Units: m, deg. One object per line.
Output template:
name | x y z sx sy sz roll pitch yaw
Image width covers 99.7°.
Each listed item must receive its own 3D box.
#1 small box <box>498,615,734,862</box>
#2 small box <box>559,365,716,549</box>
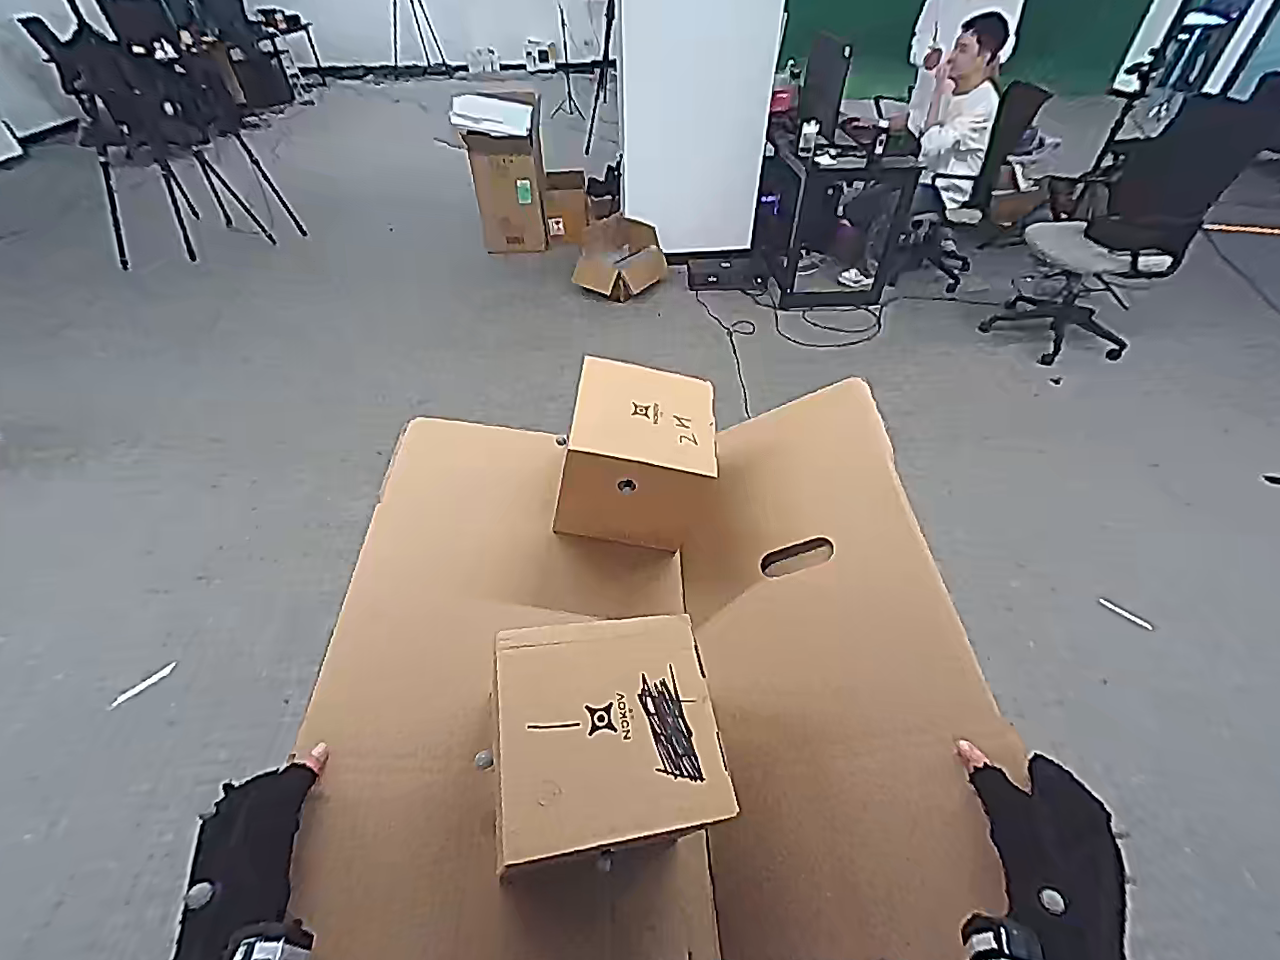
small box | -0.039 0.240 0.506 0.179 0.176 0.168 0 52 -16
small box | -0.006 -0.024 0.732 0.179 0.176 0.168 12 50 -8
